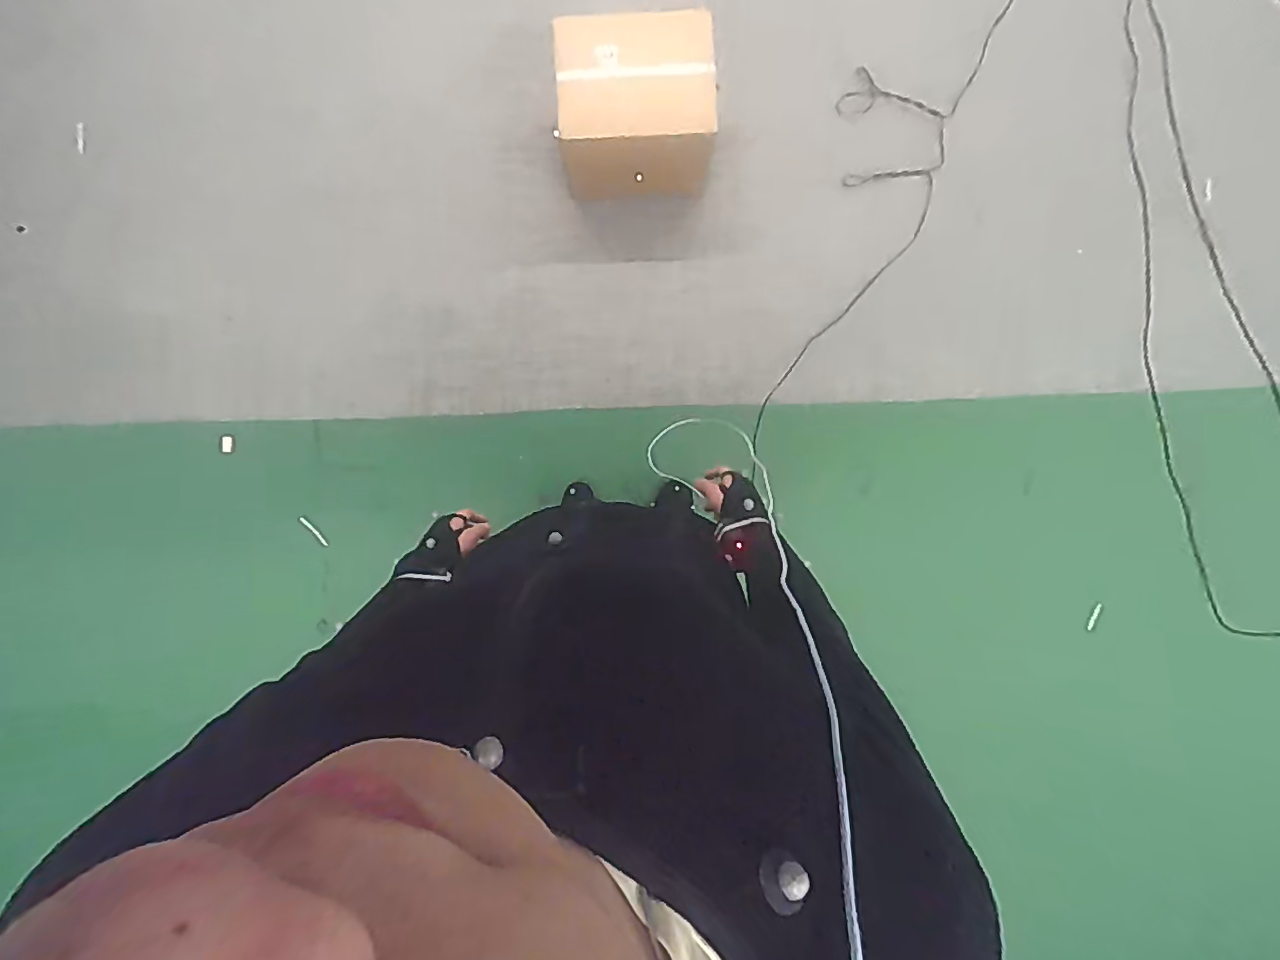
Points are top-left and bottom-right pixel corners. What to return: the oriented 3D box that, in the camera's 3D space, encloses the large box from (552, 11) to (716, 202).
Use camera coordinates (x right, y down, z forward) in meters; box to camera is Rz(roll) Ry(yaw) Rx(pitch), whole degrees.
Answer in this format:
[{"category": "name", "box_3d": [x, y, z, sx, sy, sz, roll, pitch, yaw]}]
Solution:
[{"category": "large box", "box_3d": [-0.011, -1.020, 1.519, 0.408, 0.320, 0.320, -4, 89, 1]}]
